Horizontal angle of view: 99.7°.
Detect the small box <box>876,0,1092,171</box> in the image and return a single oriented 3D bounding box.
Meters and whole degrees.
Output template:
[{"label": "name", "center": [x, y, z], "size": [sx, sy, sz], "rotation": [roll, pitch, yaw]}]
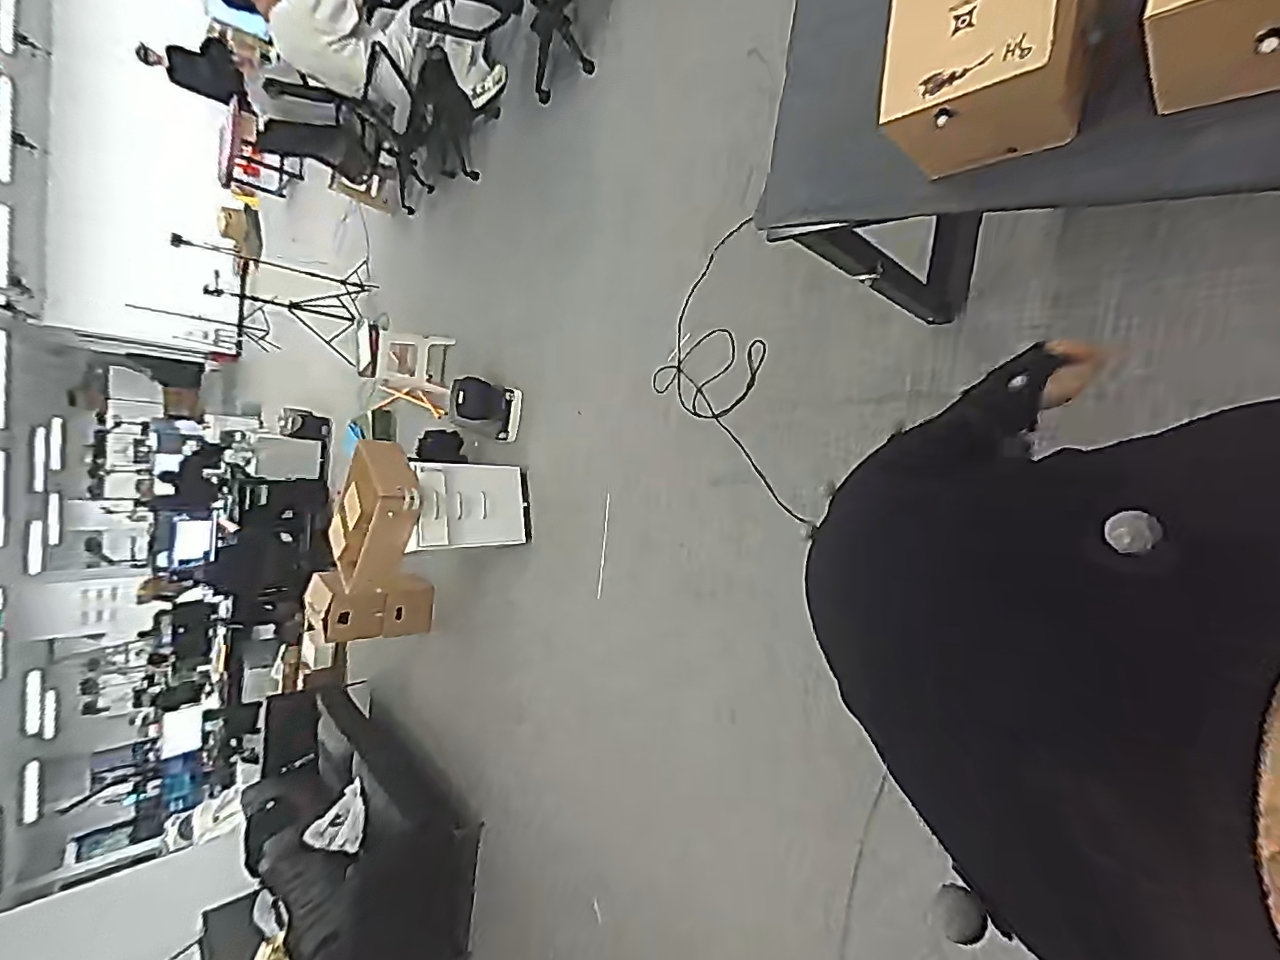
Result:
[{"label": "small box", "center": [0.402, -0.502, 0.630], "size": [0.168, 0.176, 0.179], "rotation": [11, 96, 47]}]
